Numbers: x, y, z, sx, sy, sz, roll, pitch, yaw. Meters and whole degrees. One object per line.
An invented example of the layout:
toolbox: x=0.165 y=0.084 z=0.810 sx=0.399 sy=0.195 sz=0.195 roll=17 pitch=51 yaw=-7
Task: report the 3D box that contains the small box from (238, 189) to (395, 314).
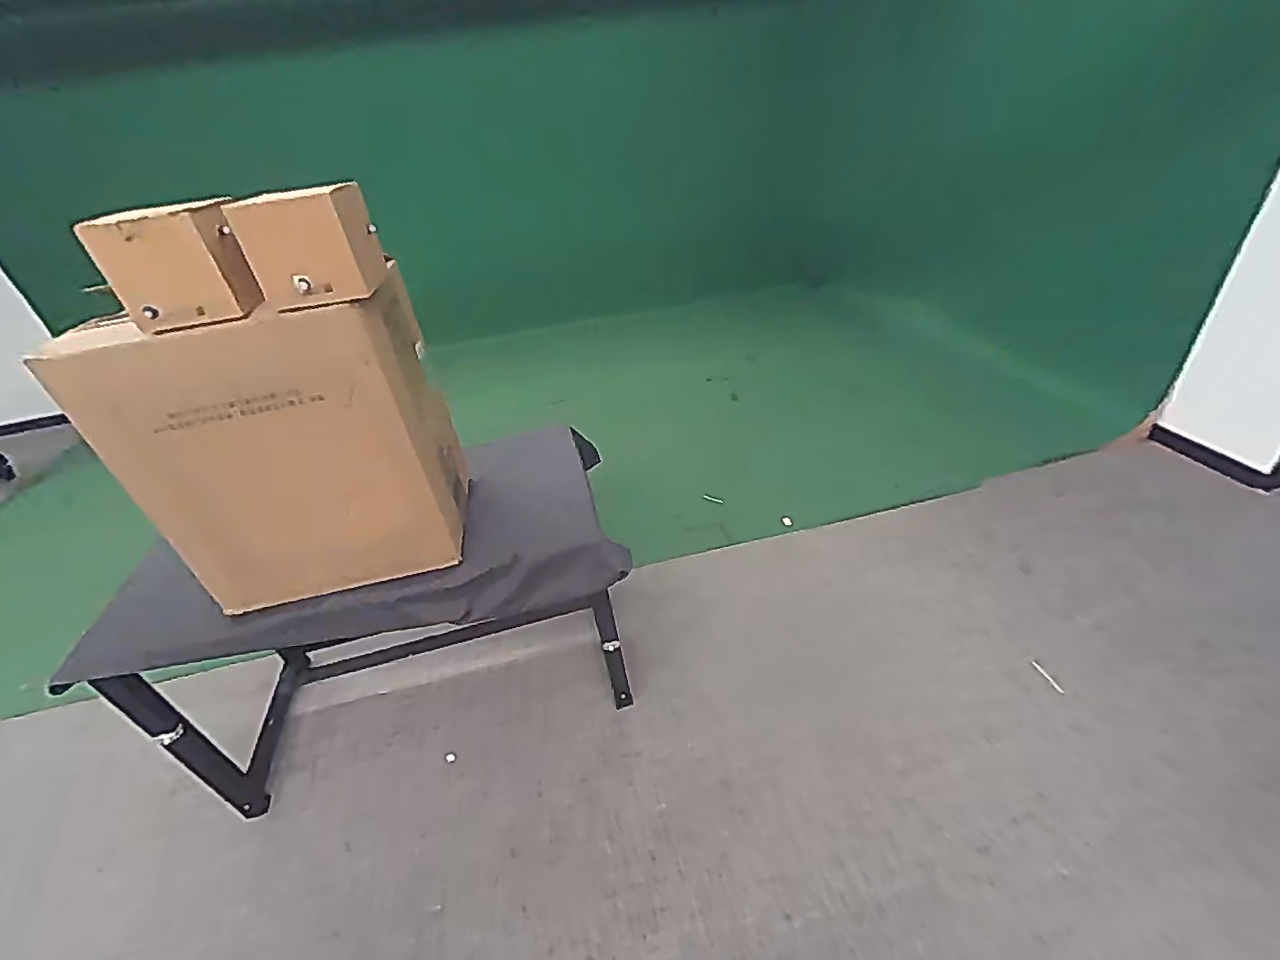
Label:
small box: x=-0.561 y=-0.411 z=0.970 sx=0.168 sy=0.176 sz=0.179 roll=-12 pitch=36 yaw=-5
